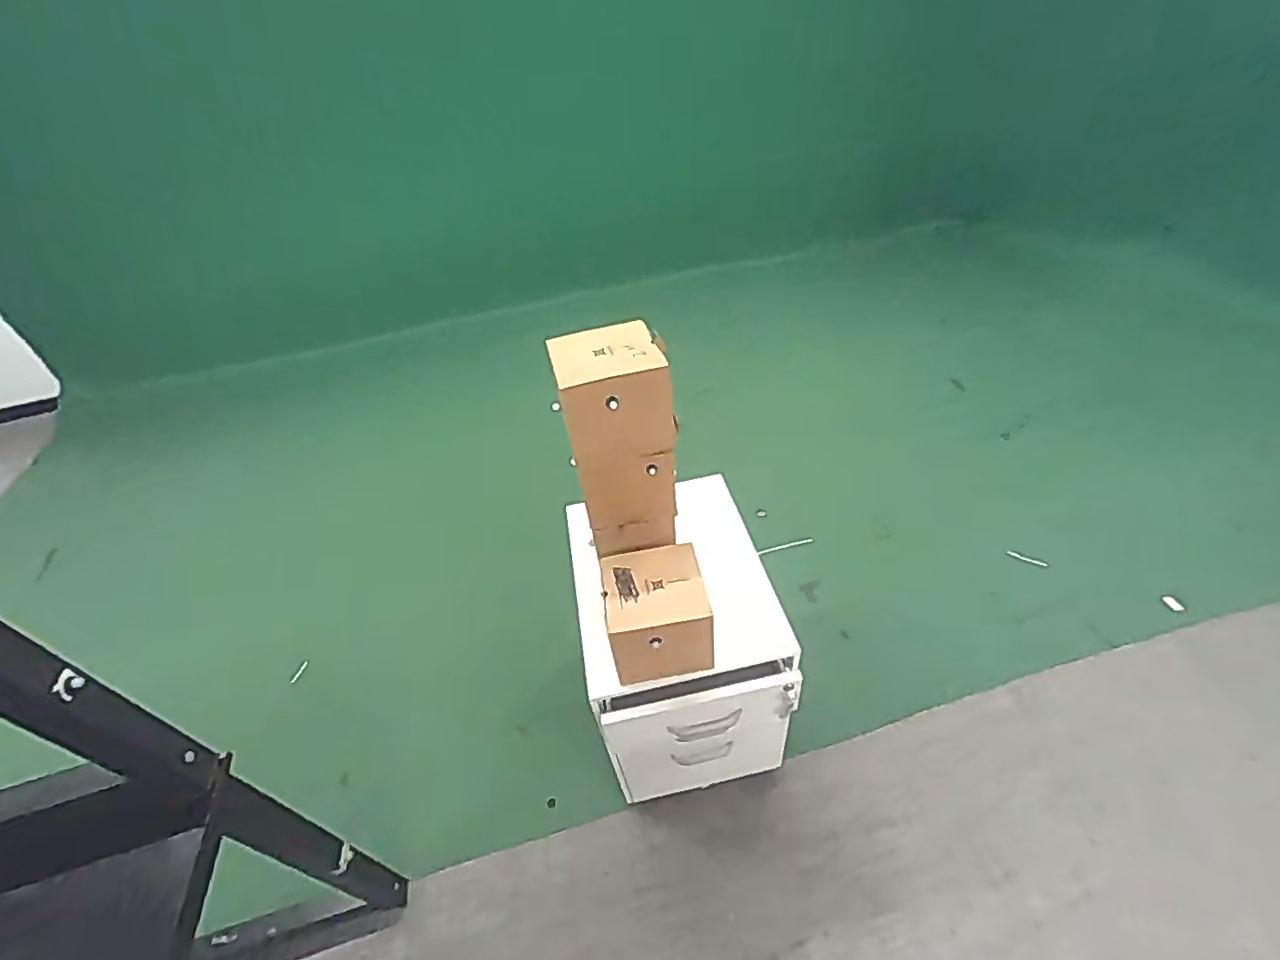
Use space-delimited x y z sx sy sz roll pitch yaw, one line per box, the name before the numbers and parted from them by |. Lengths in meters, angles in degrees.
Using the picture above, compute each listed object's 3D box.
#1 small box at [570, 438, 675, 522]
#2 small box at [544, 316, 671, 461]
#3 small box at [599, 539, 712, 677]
small box | -0.033 -0.037 1.036 0.179 0.176 0.168 -8 42 -2
small box | -0.053 -0.153 0.920 0.179 0.176 0.168 -13 43 -7
small box | 0.028 0.233 0.972 0.179 0.176 0.168 -9 41 -2
